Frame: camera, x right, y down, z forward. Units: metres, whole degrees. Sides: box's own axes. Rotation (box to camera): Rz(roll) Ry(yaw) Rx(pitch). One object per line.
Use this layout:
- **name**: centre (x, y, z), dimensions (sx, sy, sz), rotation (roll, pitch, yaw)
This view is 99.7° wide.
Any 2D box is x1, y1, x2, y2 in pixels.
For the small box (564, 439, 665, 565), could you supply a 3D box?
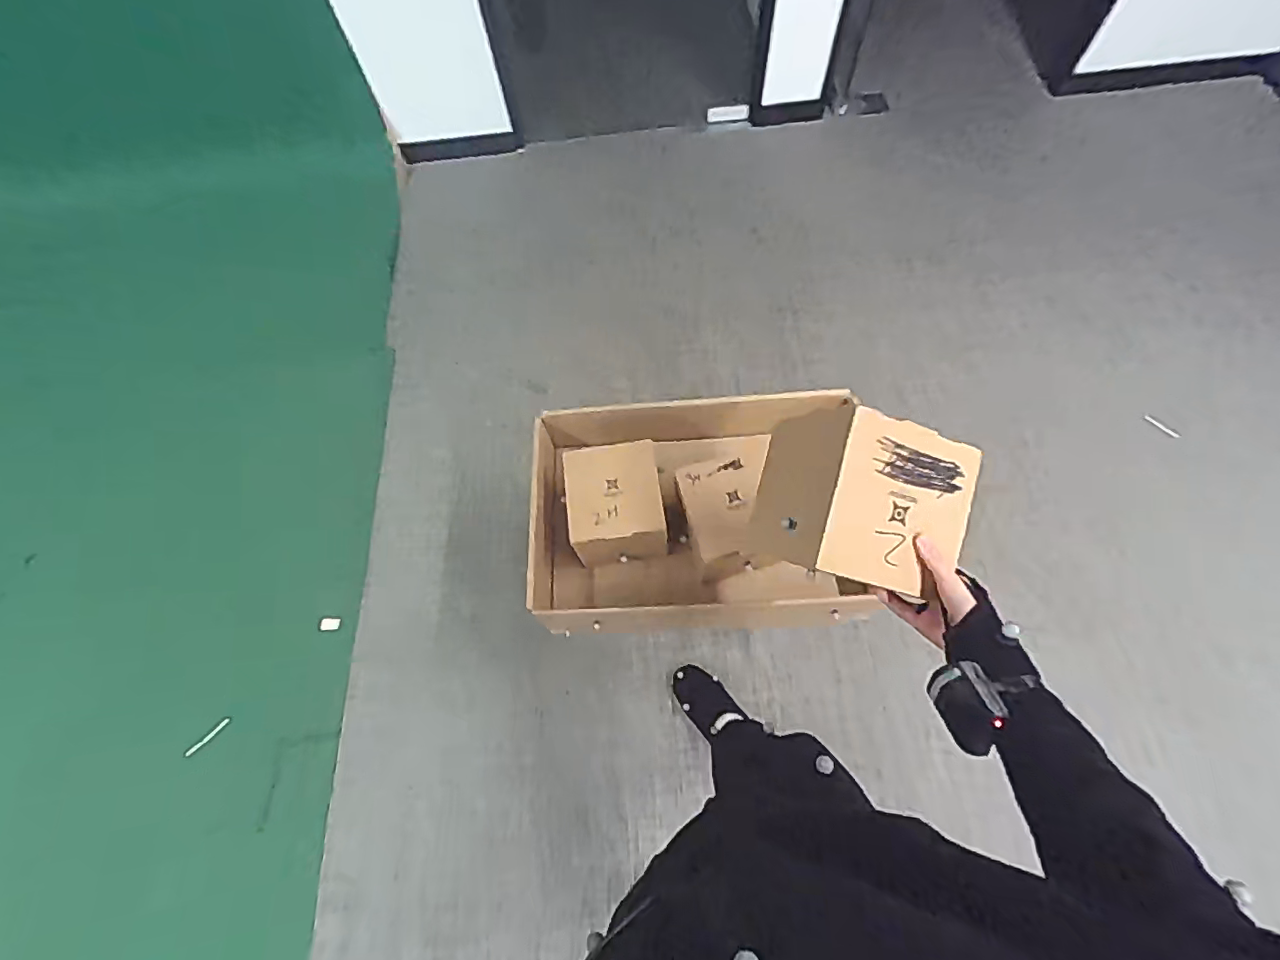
- **small box**: centre (-0.044, 0.045, 1.006), dimensions (0.168, 0.176, 0.179), rotation (-7, 66, 1)

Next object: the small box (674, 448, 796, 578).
- **small box**: centre (0.163, 0.069, 0.983), dimensions (0.168, 0.176, 0.179), rotation (-14, 66, -3)
